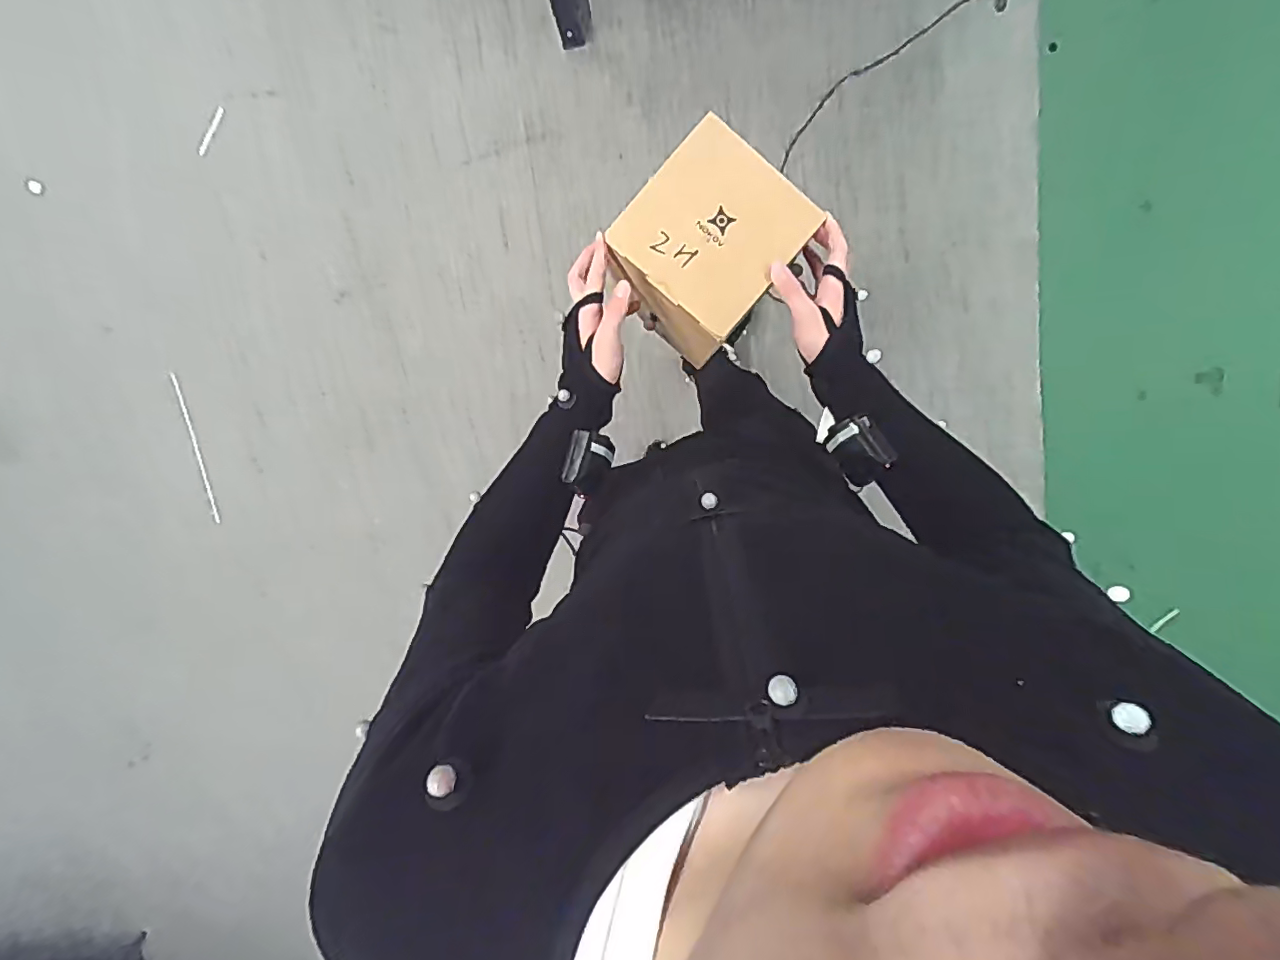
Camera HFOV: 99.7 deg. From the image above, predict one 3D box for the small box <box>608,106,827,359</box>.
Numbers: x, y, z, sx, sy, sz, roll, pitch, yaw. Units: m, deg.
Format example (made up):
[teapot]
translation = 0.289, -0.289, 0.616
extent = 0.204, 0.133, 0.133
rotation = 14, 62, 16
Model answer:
[small box]
translation = 0.078, -0.271, 0.638
extent = 0.168, 0.176, 0.179
rotation = 41, 90, -1
